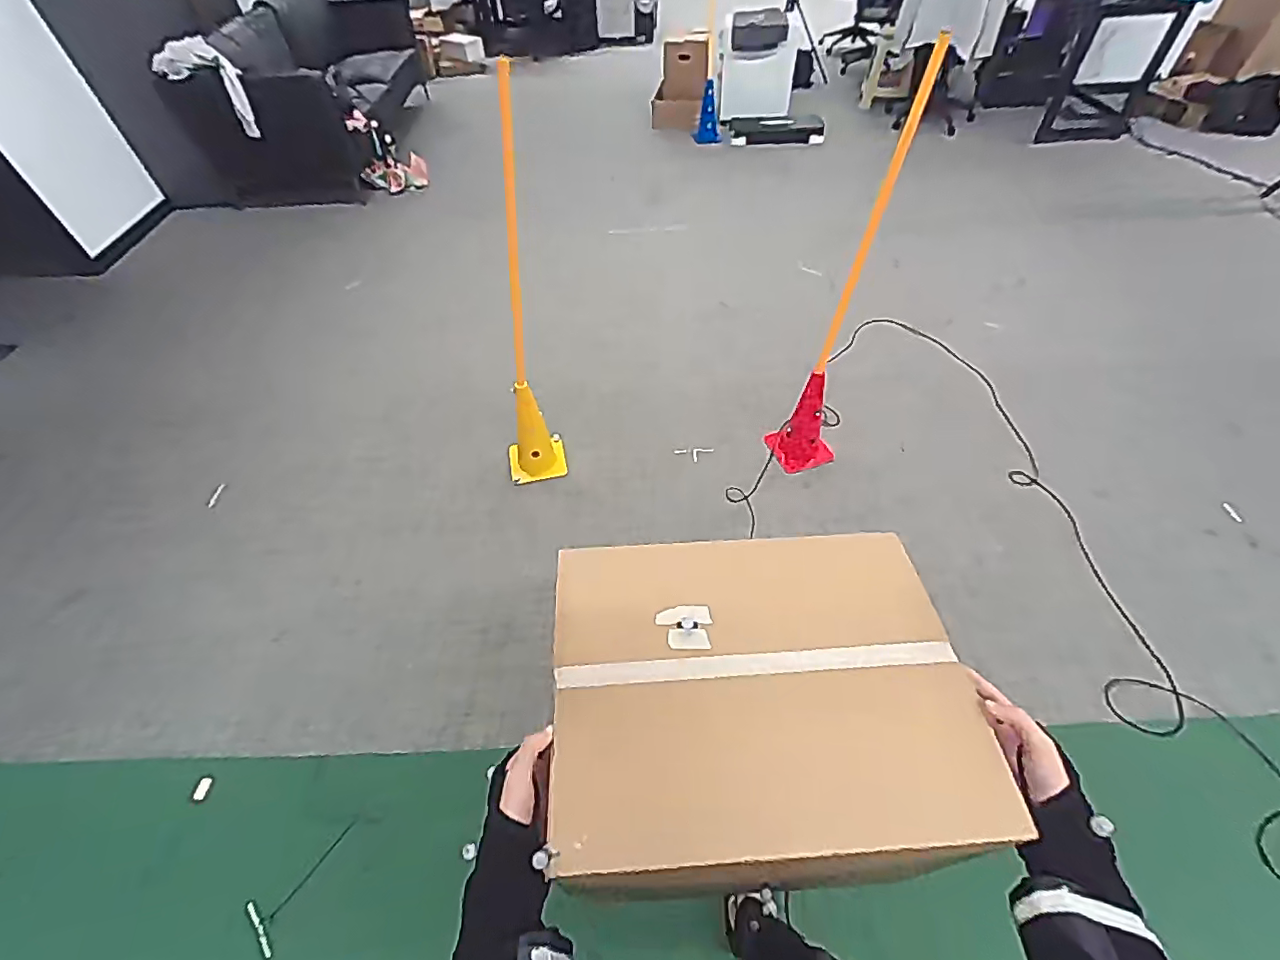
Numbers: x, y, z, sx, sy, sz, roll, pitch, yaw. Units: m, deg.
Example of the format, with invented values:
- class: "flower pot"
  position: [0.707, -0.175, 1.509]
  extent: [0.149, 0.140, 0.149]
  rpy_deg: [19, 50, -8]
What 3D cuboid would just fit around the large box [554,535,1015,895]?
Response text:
- class: "large box"
  position: [0.119, 0.291, 0.662]
  extent: [0.408, 0.320, 0.320]
  rpy_deg: [-3, 48, -2]
